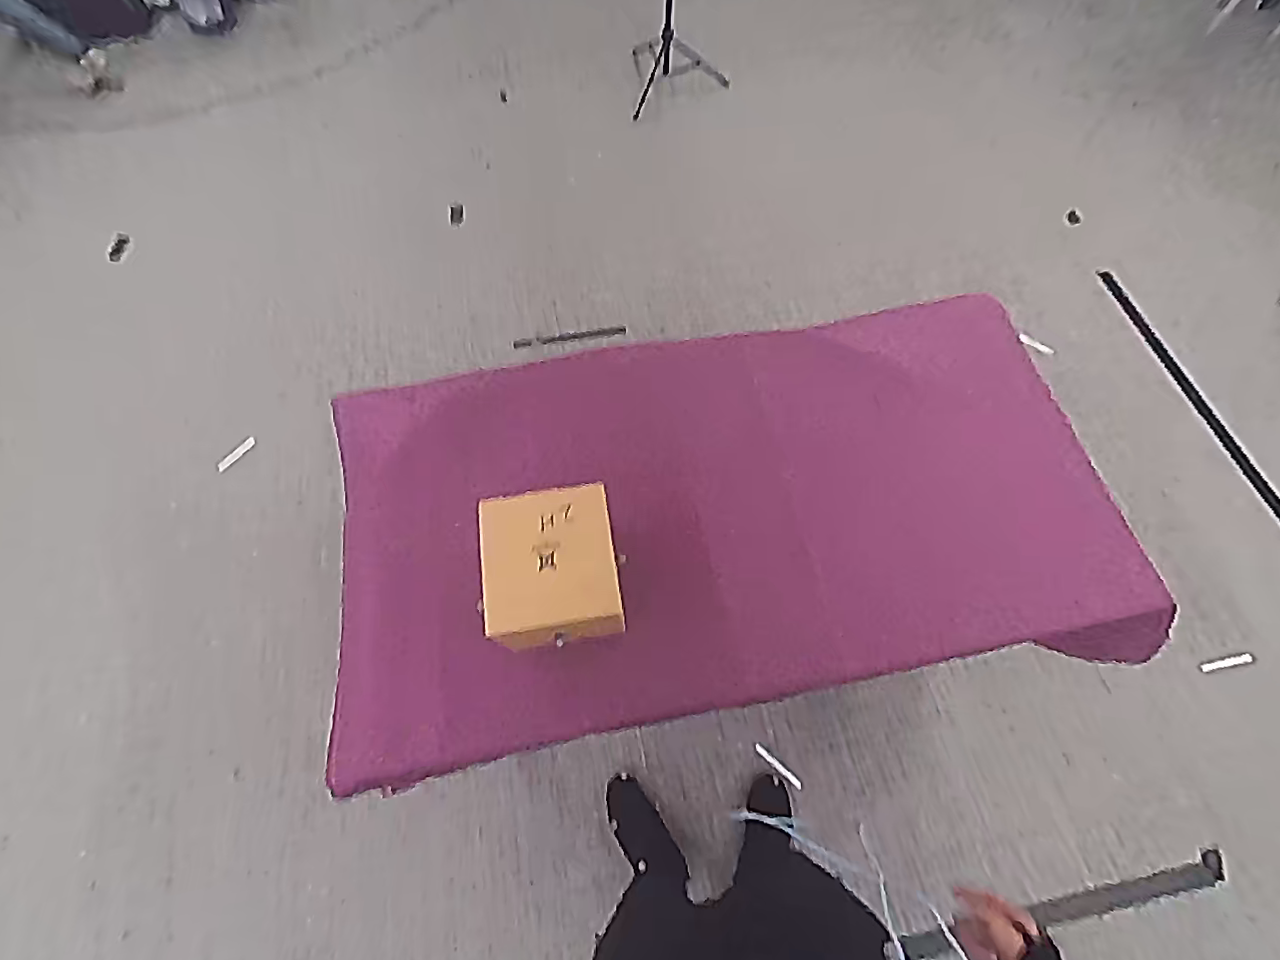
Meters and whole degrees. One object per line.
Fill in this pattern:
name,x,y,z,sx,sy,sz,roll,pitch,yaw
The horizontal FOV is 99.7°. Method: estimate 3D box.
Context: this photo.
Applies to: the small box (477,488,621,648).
small box,-0.119,0.130,0.747,0.168,0.176,0.179,-8,66,-4
